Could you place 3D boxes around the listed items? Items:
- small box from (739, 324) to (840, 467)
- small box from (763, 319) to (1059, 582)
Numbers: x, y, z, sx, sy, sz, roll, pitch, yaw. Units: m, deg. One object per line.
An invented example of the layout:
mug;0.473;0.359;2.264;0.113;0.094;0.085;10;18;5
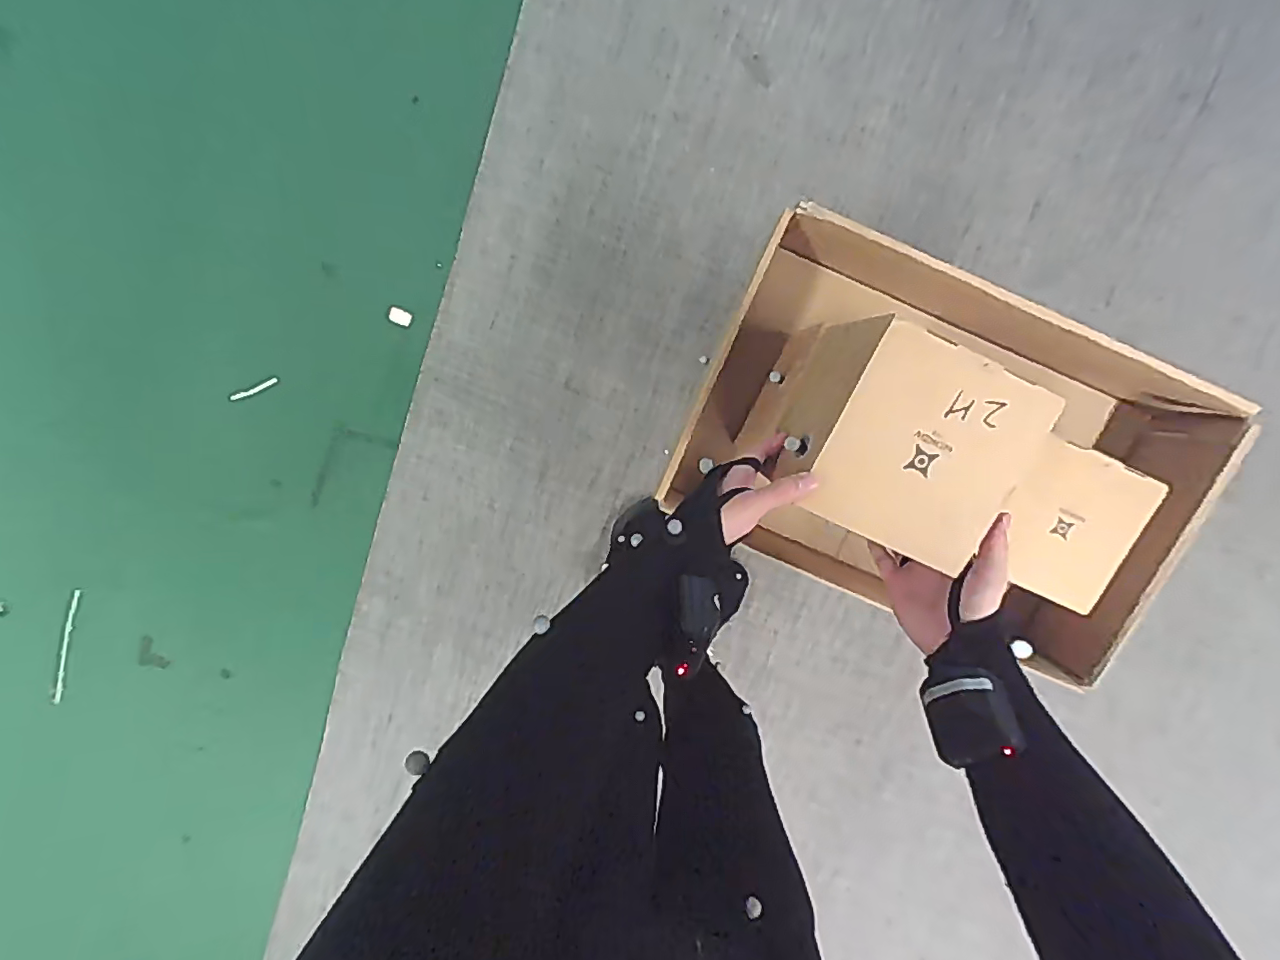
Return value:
small box;0.240;-0.074;0.692;0.168;0.176;0.179;26;99;-1
small box;0.236;-0.036;0.530;0.168;0.176;0.179;25;101;-5
